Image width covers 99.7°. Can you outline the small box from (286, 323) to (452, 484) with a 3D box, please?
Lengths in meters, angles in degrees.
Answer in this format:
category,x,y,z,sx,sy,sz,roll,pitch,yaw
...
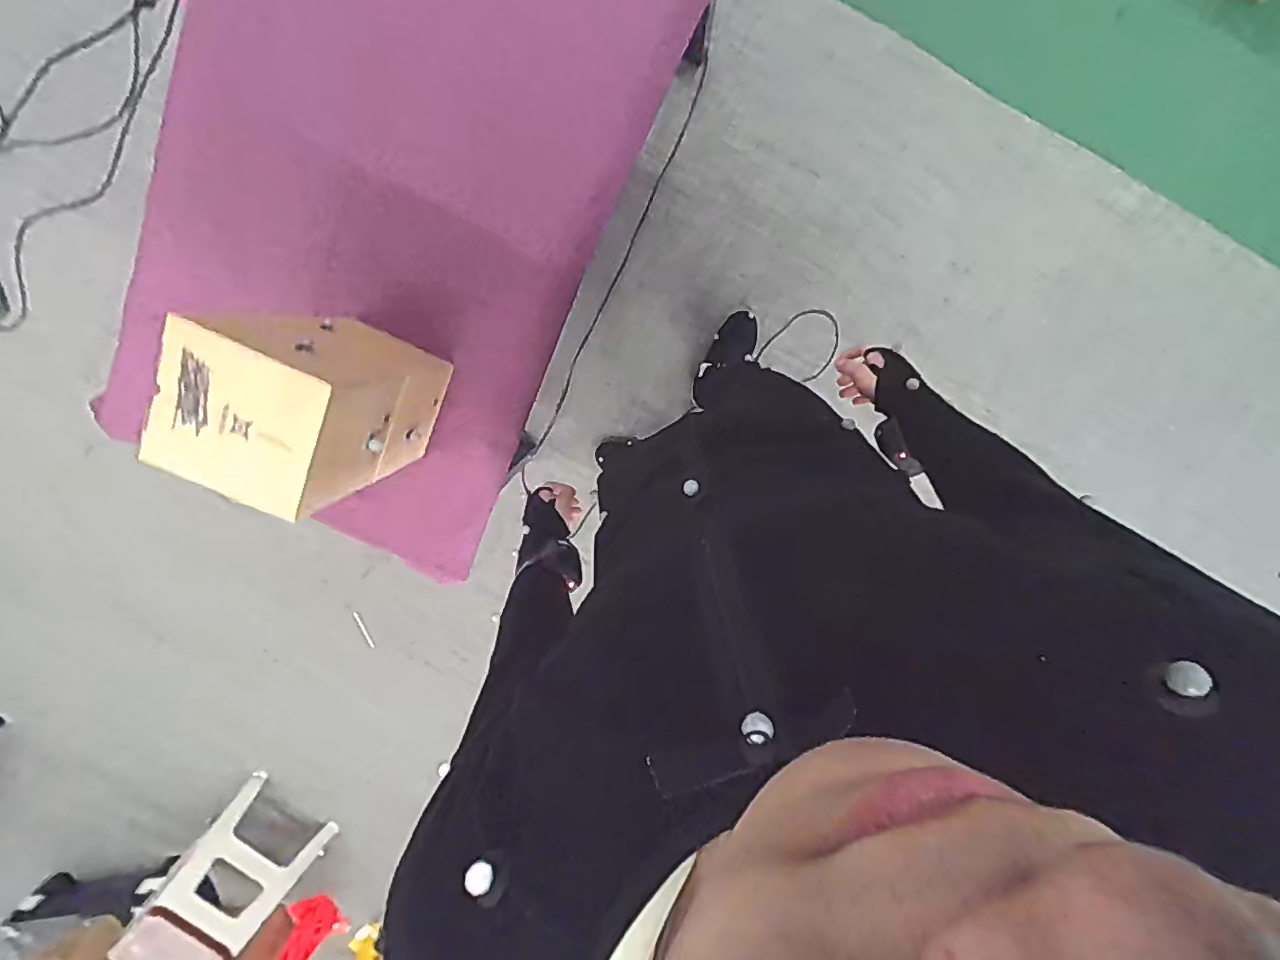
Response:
category,x,y,z,sx,sy,sz,roll,pitch,yaw
small box,-0.405,-0.120,0.796,0.179,0.176,0.168,24,105,-3

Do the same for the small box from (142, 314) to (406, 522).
category,x,y,z,sx,sy,sz,roll,pitch,yaw
small box,-0.415,-0.078,0.637,0.179,0.176,0.168,25,105,-4
